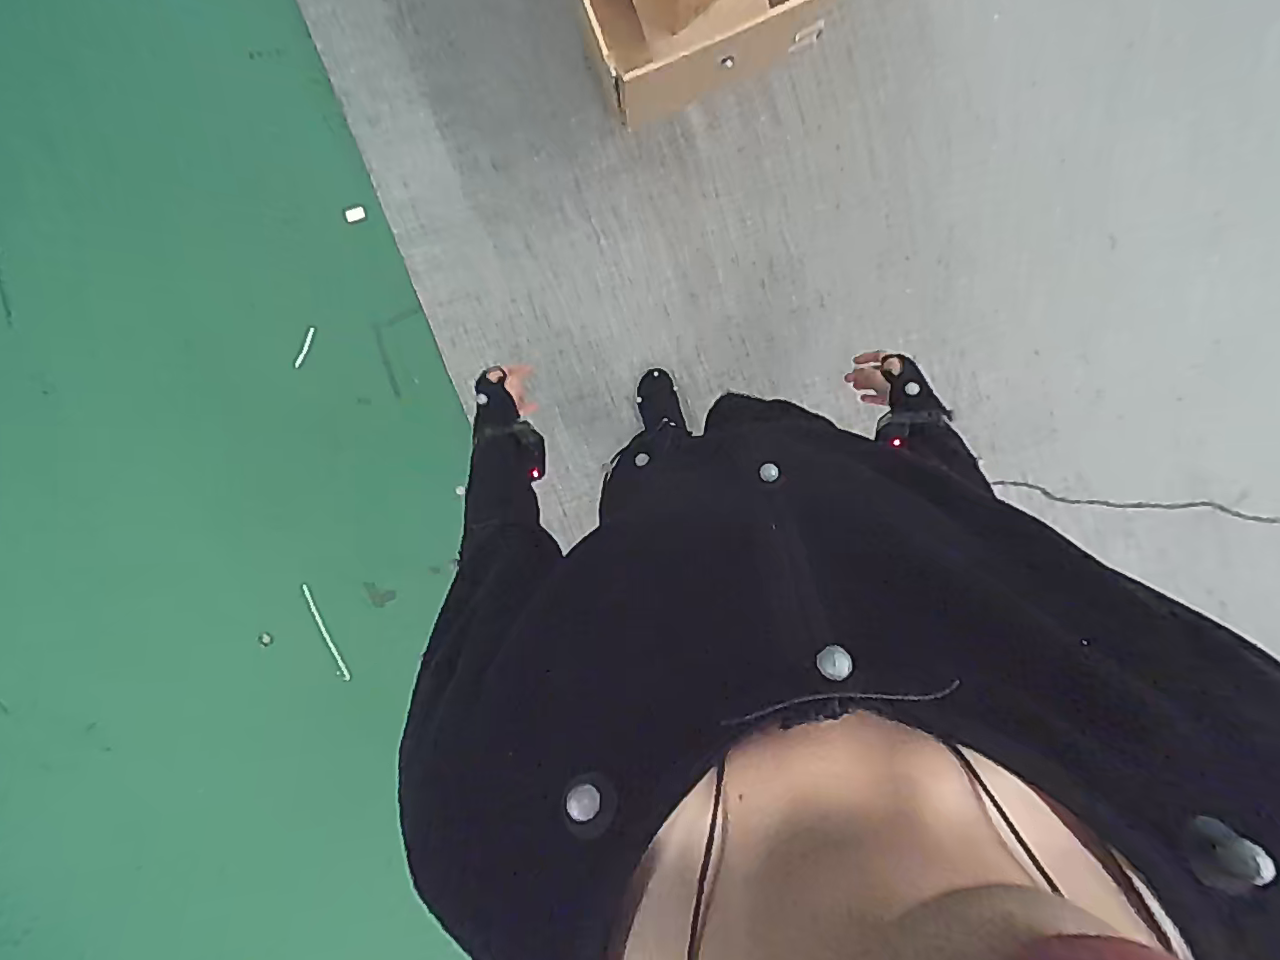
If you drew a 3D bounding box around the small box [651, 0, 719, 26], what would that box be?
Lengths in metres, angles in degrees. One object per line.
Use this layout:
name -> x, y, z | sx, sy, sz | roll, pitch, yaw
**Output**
small box -> 0.080, -0.888, 0.865 | 0.168, 0.176, 0.179 | -34, 97, 5
